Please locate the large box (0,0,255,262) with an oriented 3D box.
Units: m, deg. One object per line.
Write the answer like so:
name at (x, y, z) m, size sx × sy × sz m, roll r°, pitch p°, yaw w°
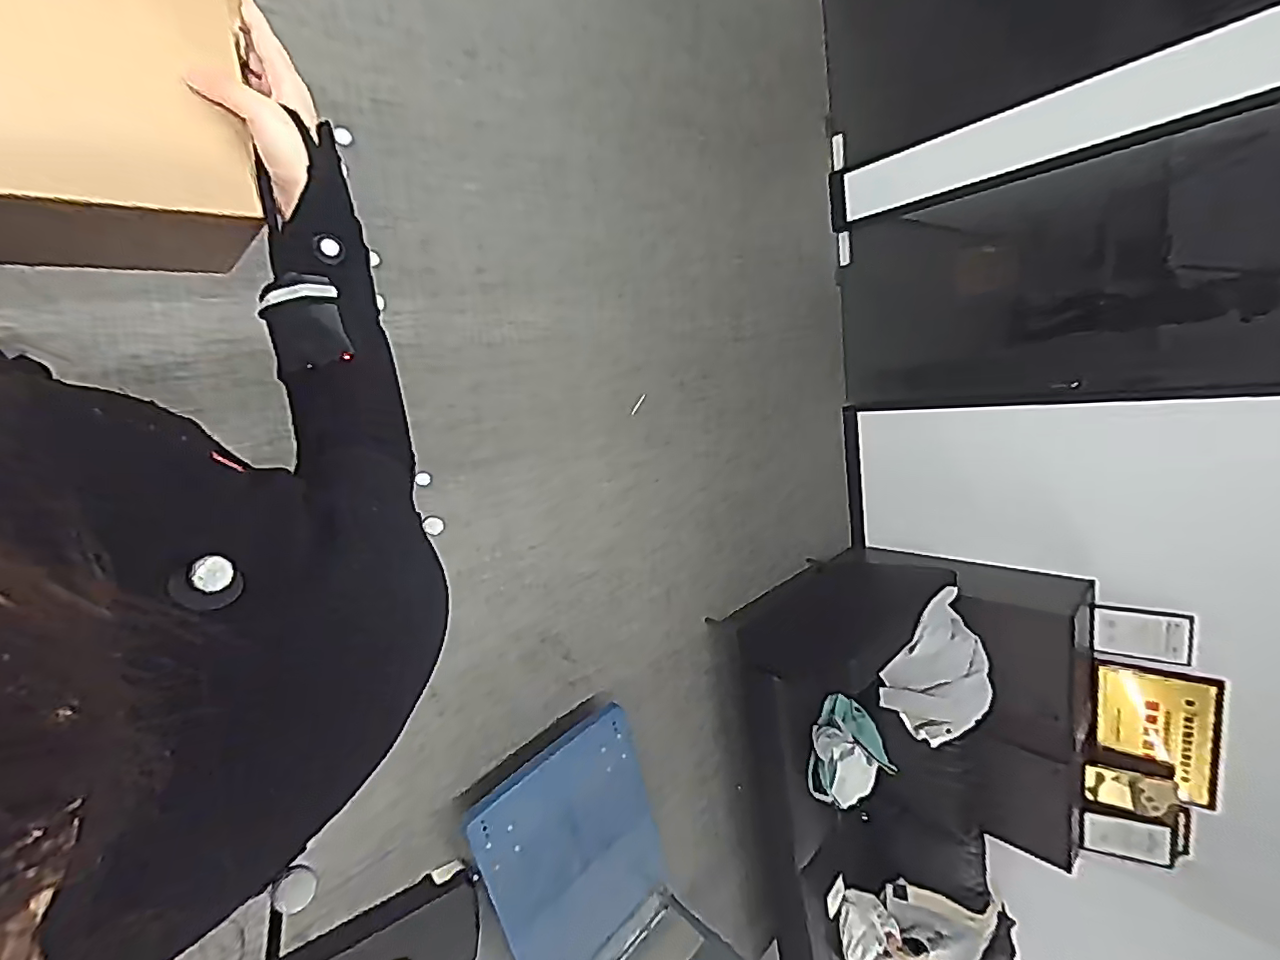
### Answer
large box at (-0.551, -0.336, 0.371) m, size 0.408 × 0.320 × 0.320 m, roll -14°, pitch 108°, yaw -38°
